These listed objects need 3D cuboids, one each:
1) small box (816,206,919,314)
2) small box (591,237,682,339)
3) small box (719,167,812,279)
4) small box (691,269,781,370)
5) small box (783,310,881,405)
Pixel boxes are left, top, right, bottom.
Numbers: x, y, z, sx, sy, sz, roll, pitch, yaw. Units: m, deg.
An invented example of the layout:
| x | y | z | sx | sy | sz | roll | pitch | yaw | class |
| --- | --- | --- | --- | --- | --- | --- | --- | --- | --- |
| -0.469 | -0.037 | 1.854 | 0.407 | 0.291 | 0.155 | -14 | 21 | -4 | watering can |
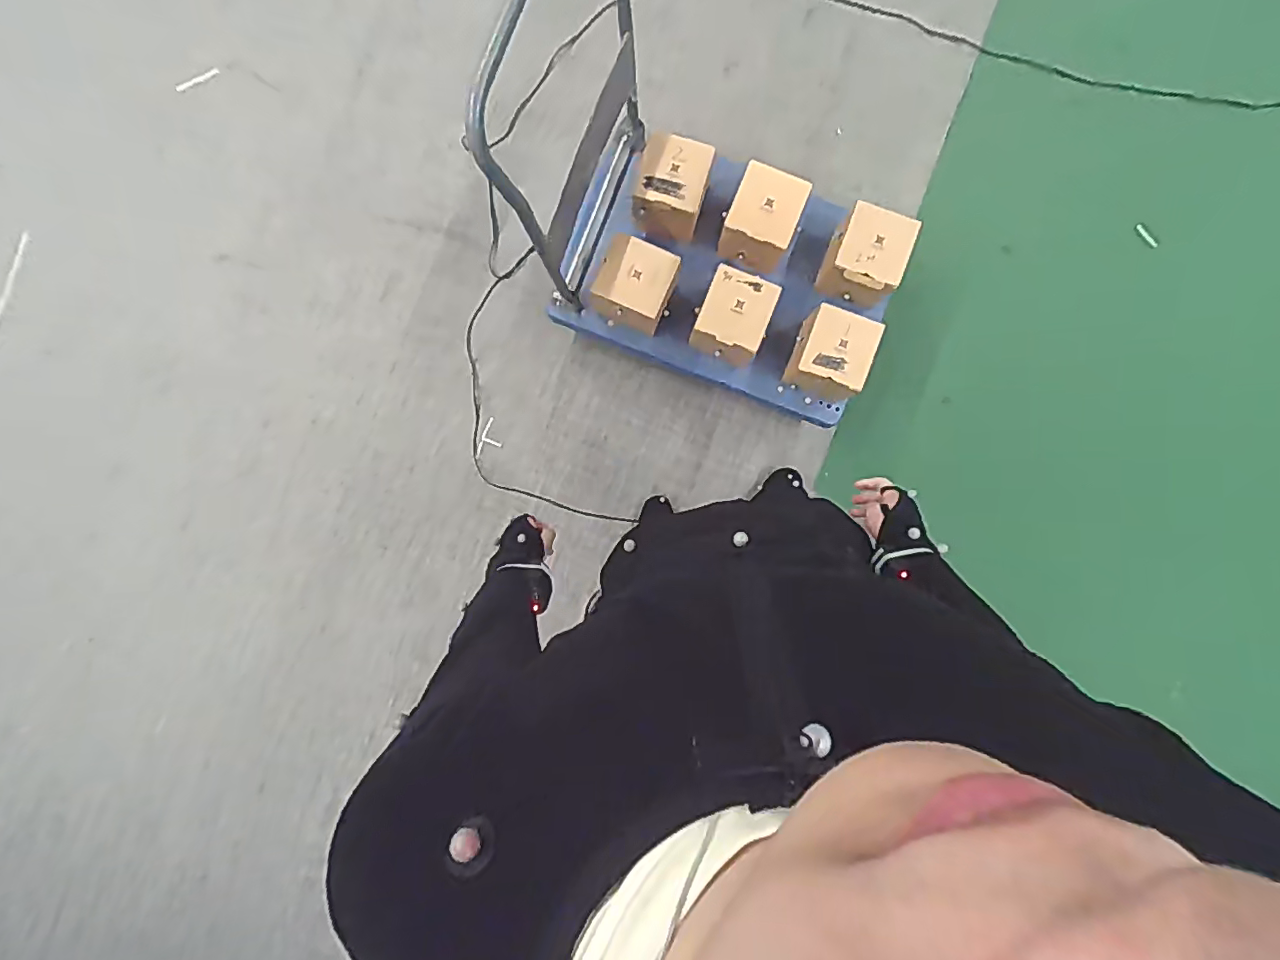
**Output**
| x | y | z | sx | sy | sz | roll | pitch | yaw | class |
| --- | --- | --- | --- | --- | --- | --- | --- | --- | --- |
| 0.576 | -0.559 | 1.394 | 0.168 | 0.176 | 0.179 | 21 | 89 | 2 | small box |
| -0.009 | -0.484 | 1.395 | 0.179 | 0.176 | 0.168 | 24 | 89 | 0 | small box |
| 0.314 | -0.657 | 1.401 | 0.168 | 0.176 | 0.179 | 22 | 90 | 0 | small box |
| 0.238 | -0.403 | 1.392 | 0.168 | 0.176 | 0.179 | 22 | 89 | 0 | small box |
| 0.489 | -0.308 | 1.406 | 0.168 | 0.176 | 0.179 | 21 | 88 | 0 | small box |
